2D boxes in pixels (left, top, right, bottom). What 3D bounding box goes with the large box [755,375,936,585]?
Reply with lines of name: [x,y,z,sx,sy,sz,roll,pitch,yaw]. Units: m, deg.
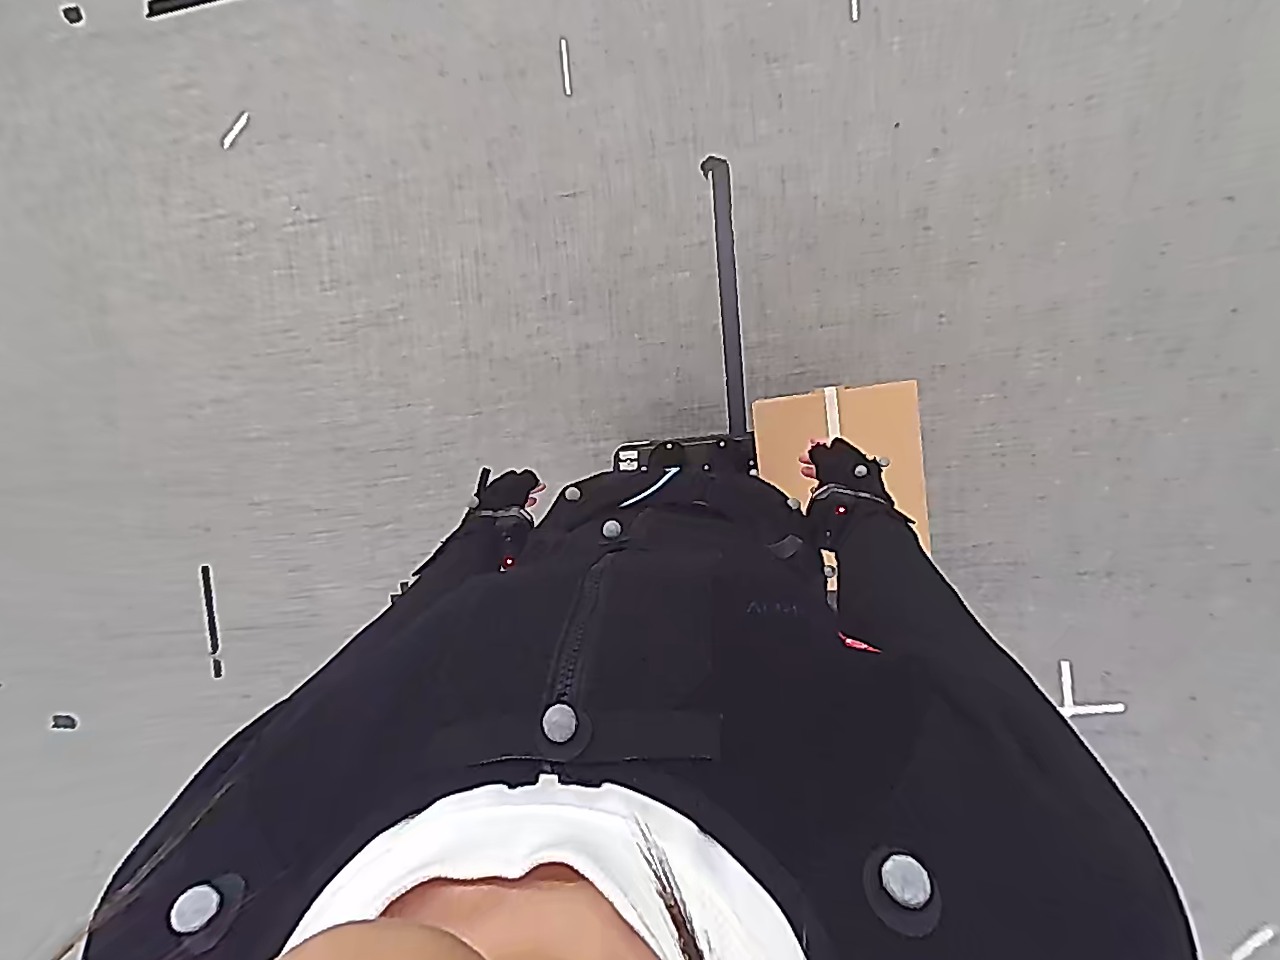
large box: [0.446,-0.008,1.230,0.320,0.320,0.408,-6,96,16]
